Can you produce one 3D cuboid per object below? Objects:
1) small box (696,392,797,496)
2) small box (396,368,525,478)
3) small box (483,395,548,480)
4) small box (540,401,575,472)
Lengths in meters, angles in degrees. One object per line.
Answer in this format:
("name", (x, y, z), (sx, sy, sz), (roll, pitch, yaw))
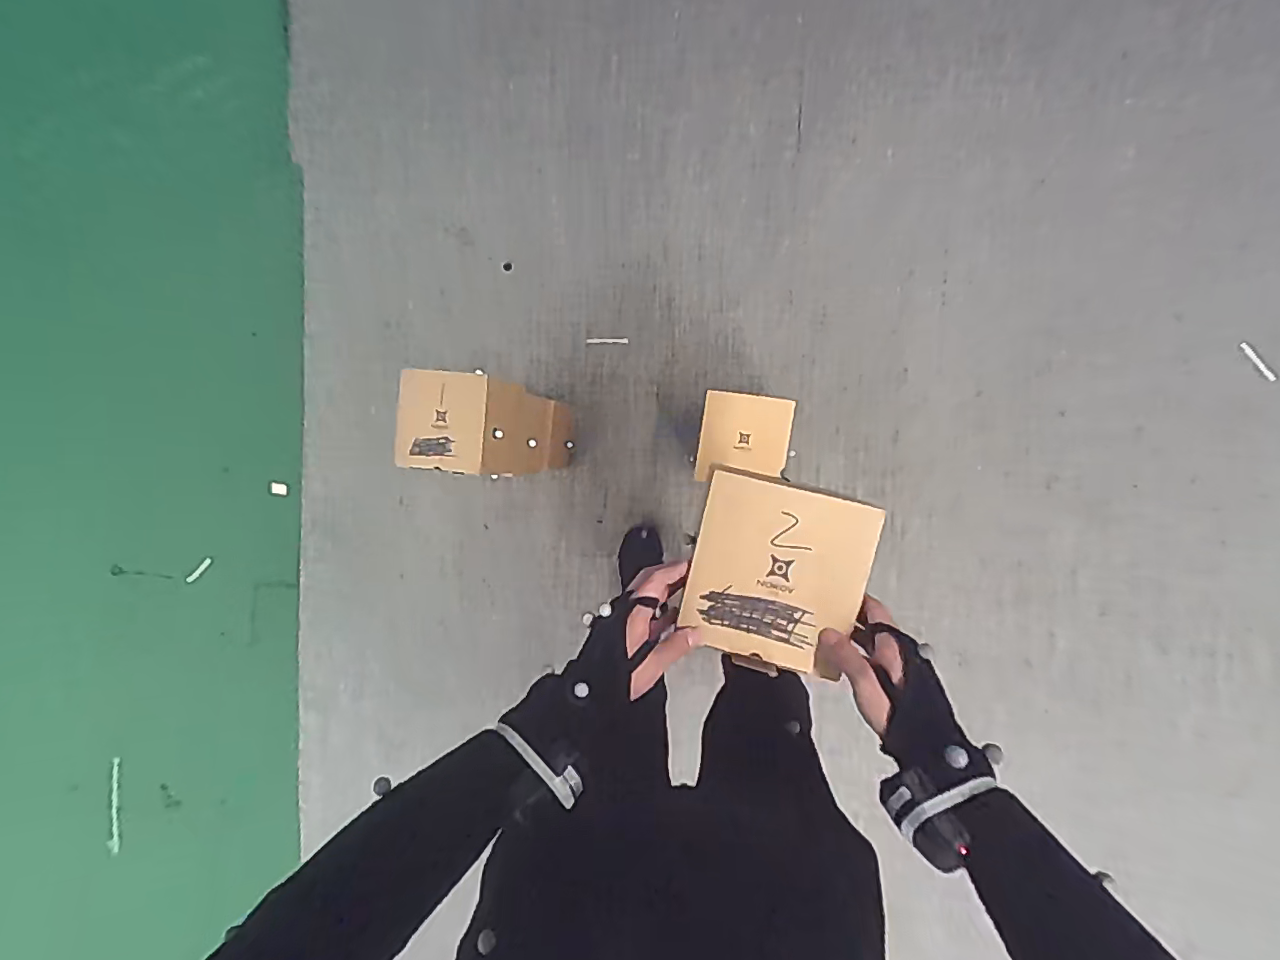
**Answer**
("small box", (0.208, -0.071, 1.083), (0.168, 0.176, 0.179), (9, 94, 9))
("small box", (-0.325, -0.103, 1.006), (0.168, 0.176, 0.179), (6, 93, 10))
("small box", (-0.307, -0.103, 1.171), (0.168, 0.176, 0.179), (8, 95, 9))
("small box", (-0.274, -0.113, 1.330), (0.179, 0.176, 0.168), (8, 94, 9))
